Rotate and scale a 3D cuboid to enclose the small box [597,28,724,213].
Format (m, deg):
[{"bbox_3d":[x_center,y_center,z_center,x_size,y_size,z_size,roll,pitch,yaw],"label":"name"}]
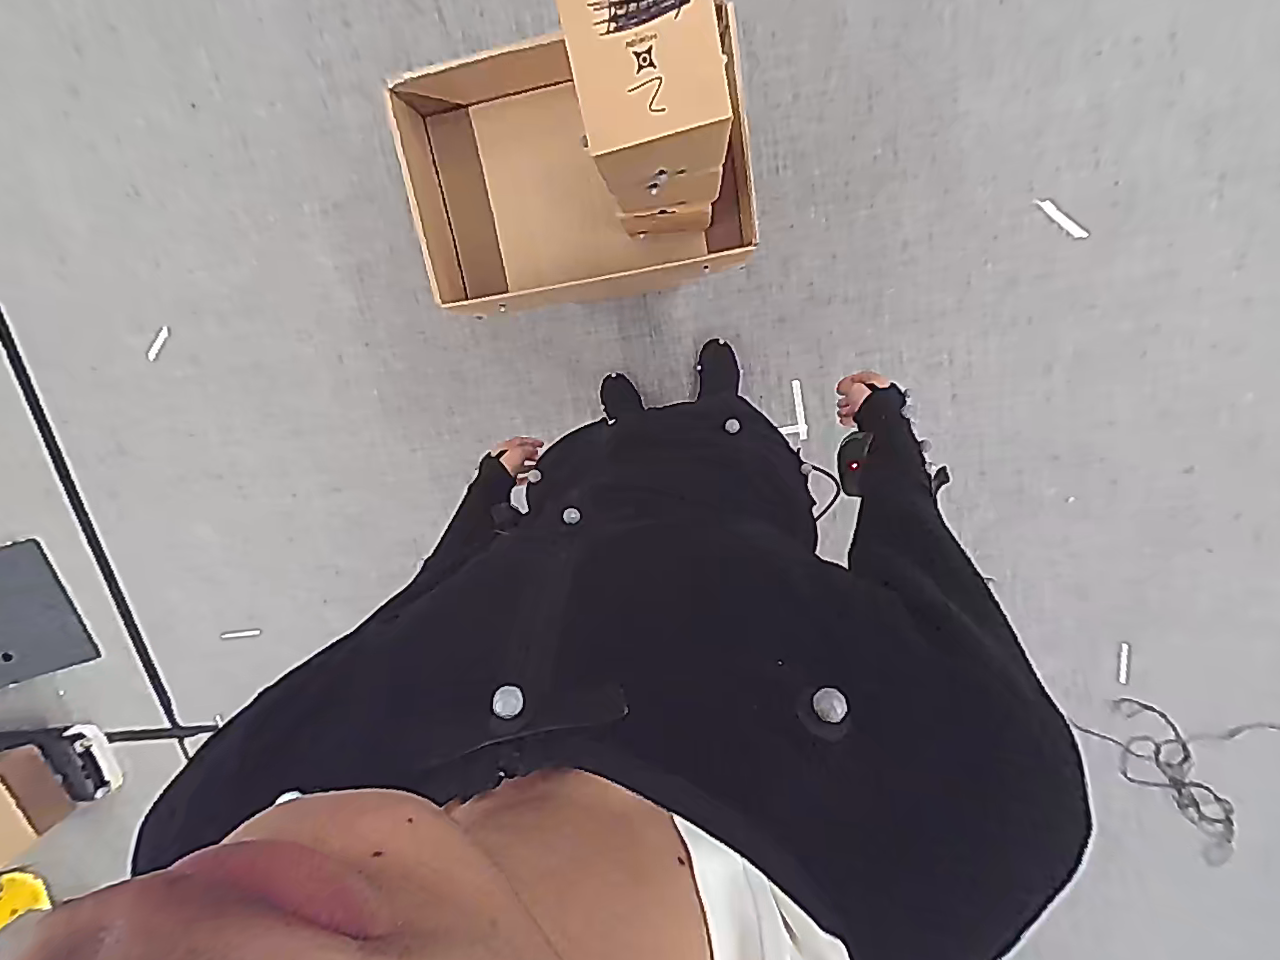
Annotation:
[{"bbox_3d":[0.036,-0.529,0.822,0.168,0.176,0.179,-5,103,7],"label":"small box"}]

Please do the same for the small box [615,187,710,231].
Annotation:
[{"bbox_3d":[0.044,-0.561,0.982,0.168,0.176,0.179,-2,104,5],"label":"small box"}]
